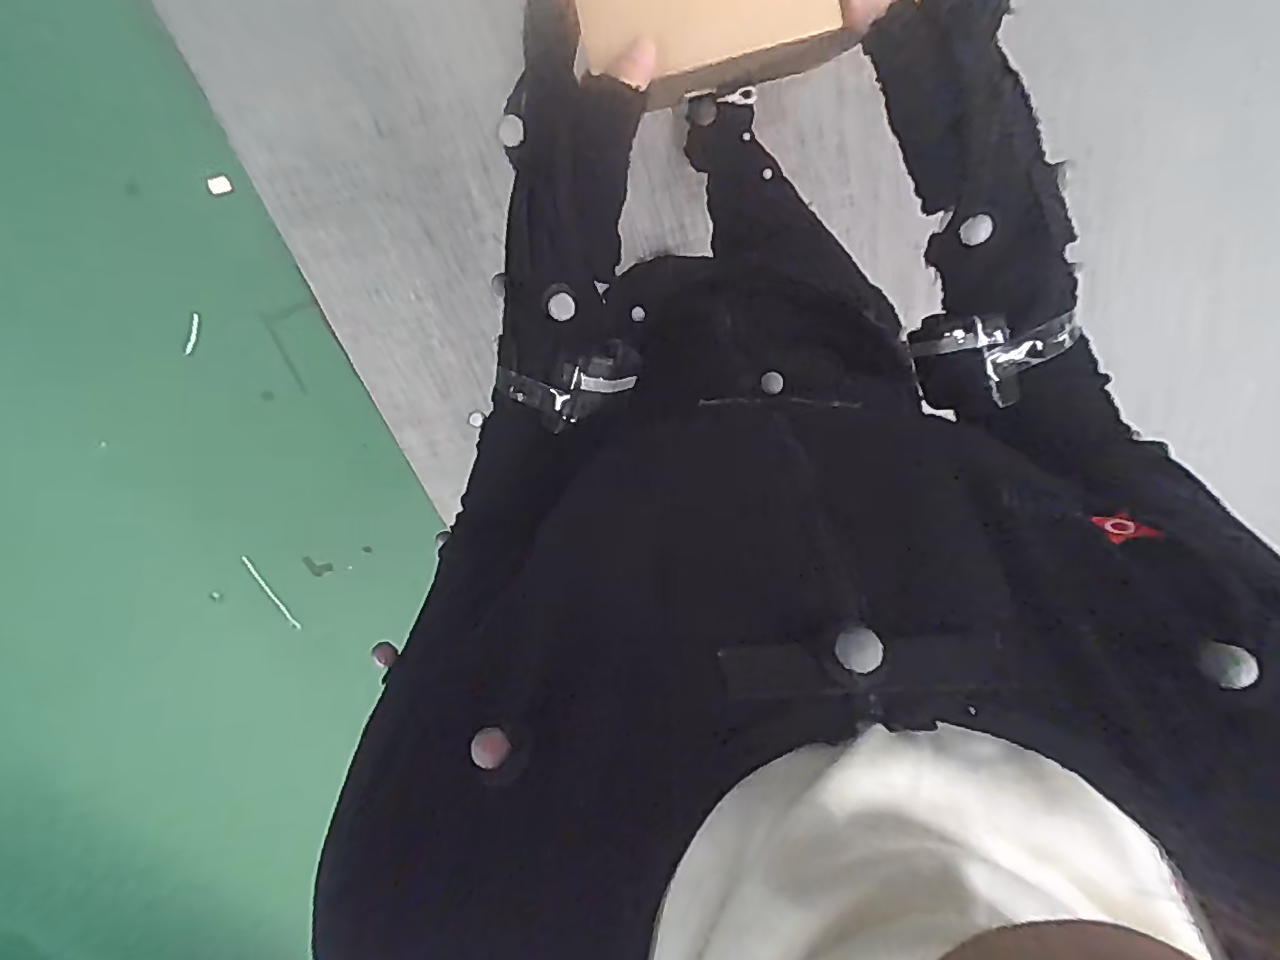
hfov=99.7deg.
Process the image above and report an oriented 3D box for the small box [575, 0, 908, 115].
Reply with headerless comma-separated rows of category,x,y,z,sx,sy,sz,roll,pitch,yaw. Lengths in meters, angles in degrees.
small box,0.035,-0.332,0.302,0.168,0.176,0.179,-11,119,5
